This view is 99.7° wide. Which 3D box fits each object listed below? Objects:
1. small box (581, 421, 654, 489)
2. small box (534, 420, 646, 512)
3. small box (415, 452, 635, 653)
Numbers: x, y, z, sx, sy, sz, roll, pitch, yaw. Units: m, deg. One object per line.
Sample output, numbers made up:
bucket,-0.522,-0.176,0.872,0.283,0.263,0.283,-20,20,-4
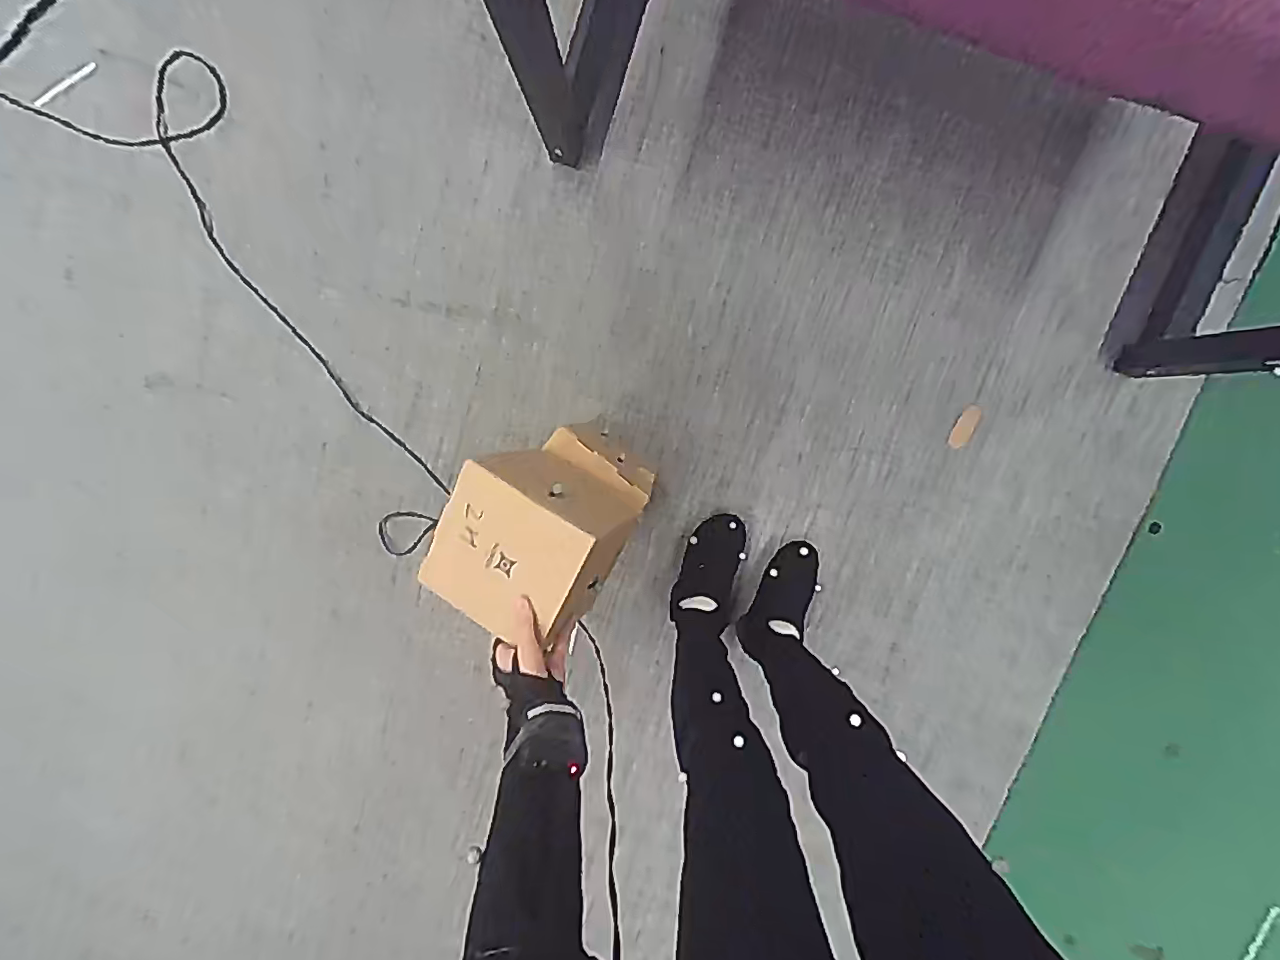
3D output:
small box,-0.088,0.003,1.012,0.168,0.176,0.179,35,98,-3
small box,-0.101,0.024,0.852,0.168,0.176,0.179,40,97,-3
small box,-0.130,0.073,0.671,0.179,0.176,0.168,33,102,11
